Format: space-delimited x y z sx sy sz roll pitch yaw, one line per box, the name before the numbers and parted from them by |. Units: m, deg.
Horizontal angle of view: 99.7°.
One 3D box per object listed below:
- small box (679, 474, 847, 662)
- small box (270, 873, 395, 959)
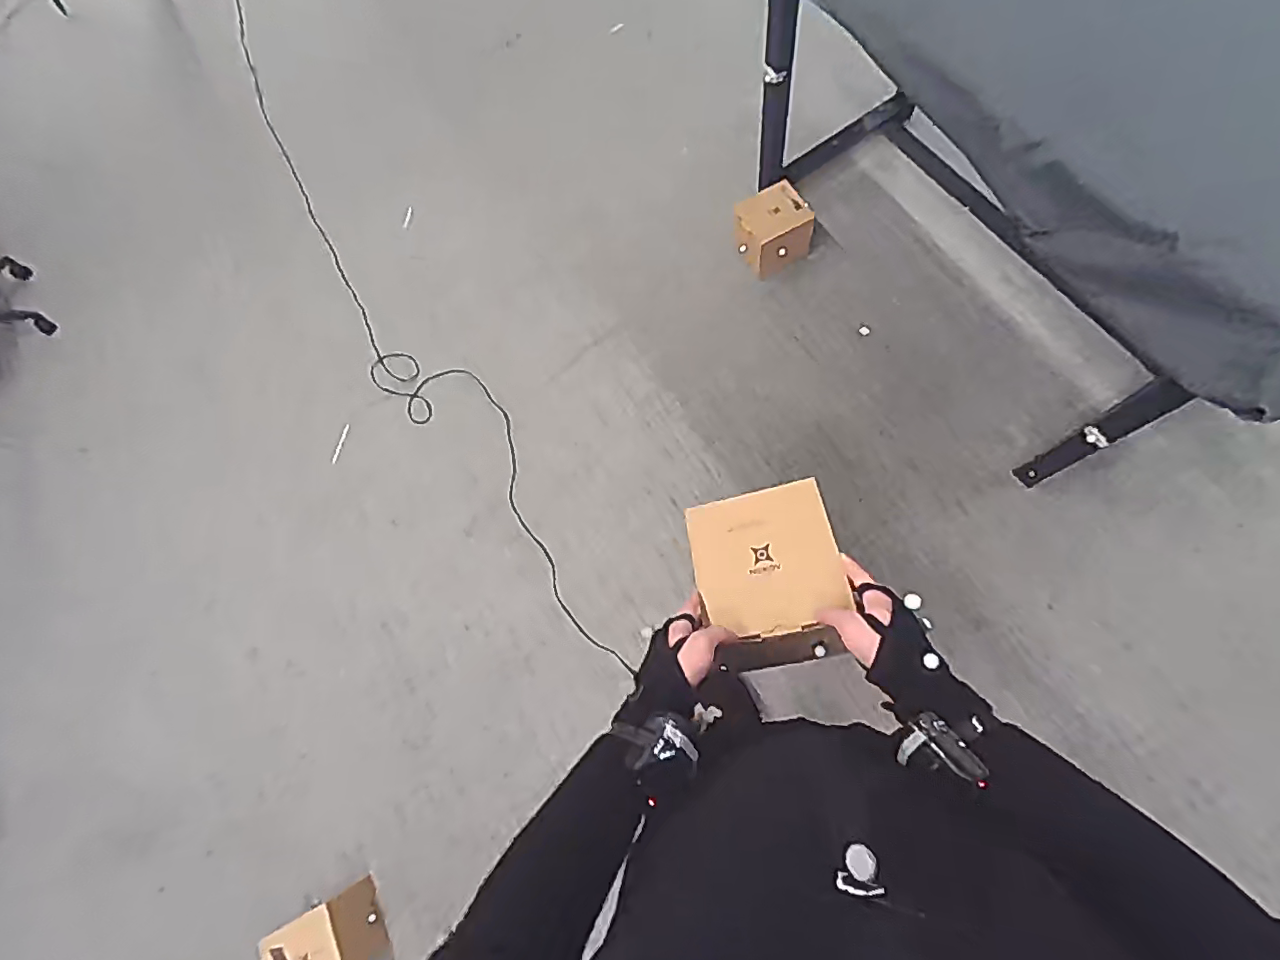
small box | 0.158 0.123 0.686 0.168 0.176 0.179 -14 56 13
small box | -0.724 1.088 1.285 0.179 0.176 0.168 -30 71 0
